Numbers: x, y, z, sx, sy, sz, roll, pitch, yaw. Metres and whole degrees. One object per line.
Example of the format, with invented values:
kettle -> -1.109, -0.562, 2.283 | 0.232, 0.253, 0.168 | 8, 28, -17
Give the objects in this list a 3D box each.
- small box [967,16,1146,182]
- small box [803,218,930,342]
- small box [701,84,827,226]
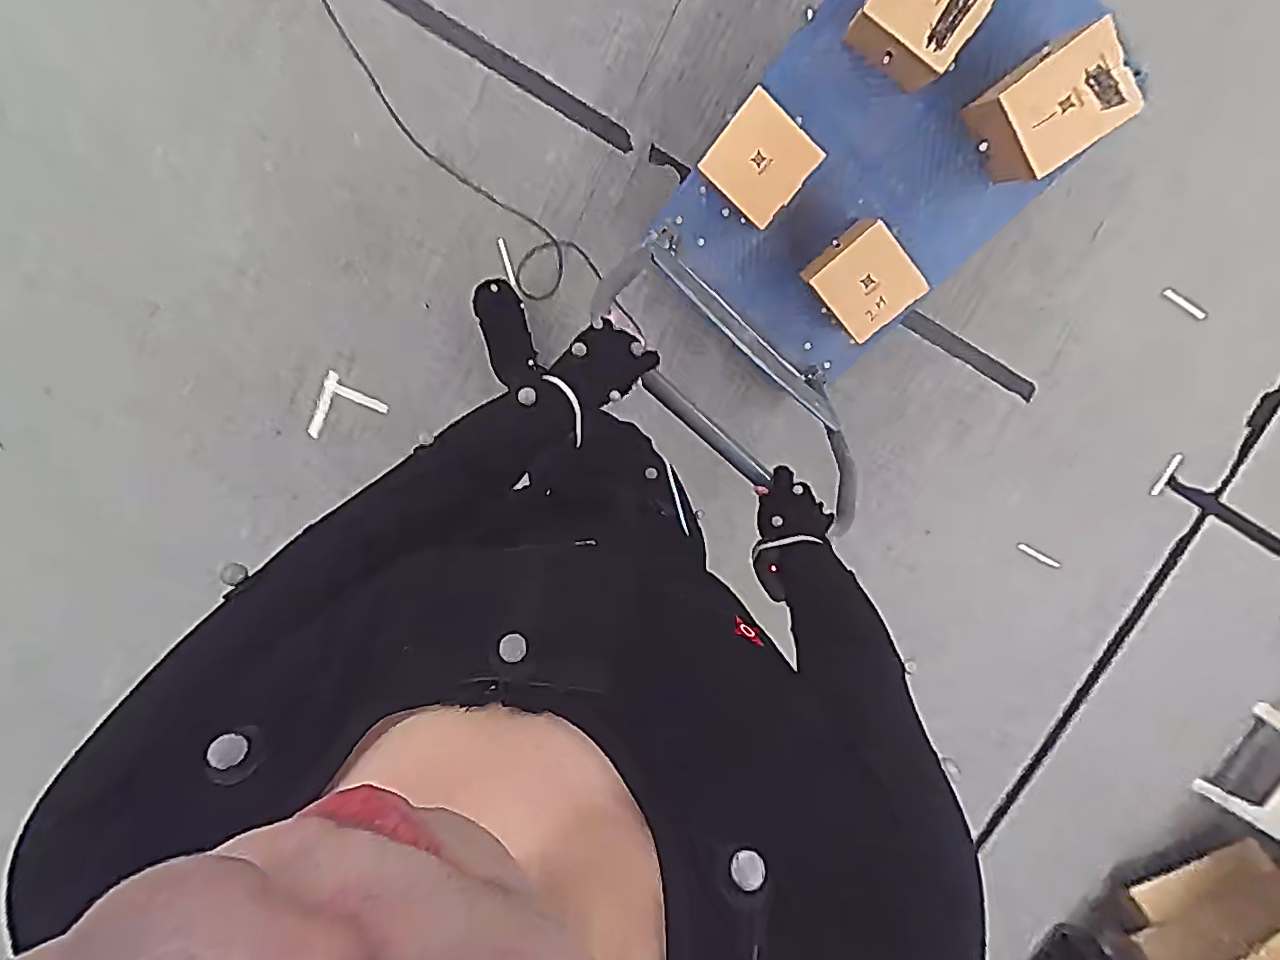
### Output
small box -> 0.741, -0.673, 0.981 | 0.179, 0.176, 0.168 | -32, 108, 23
small box -> 0.468, -0.425, 1.145 | 0.168, 0.176, 0.179 | -38, 105, 24
small box -> 0.237, -0.632, 1.076 | 0.179, 0.176, 0.168 | 38, 115, -13
